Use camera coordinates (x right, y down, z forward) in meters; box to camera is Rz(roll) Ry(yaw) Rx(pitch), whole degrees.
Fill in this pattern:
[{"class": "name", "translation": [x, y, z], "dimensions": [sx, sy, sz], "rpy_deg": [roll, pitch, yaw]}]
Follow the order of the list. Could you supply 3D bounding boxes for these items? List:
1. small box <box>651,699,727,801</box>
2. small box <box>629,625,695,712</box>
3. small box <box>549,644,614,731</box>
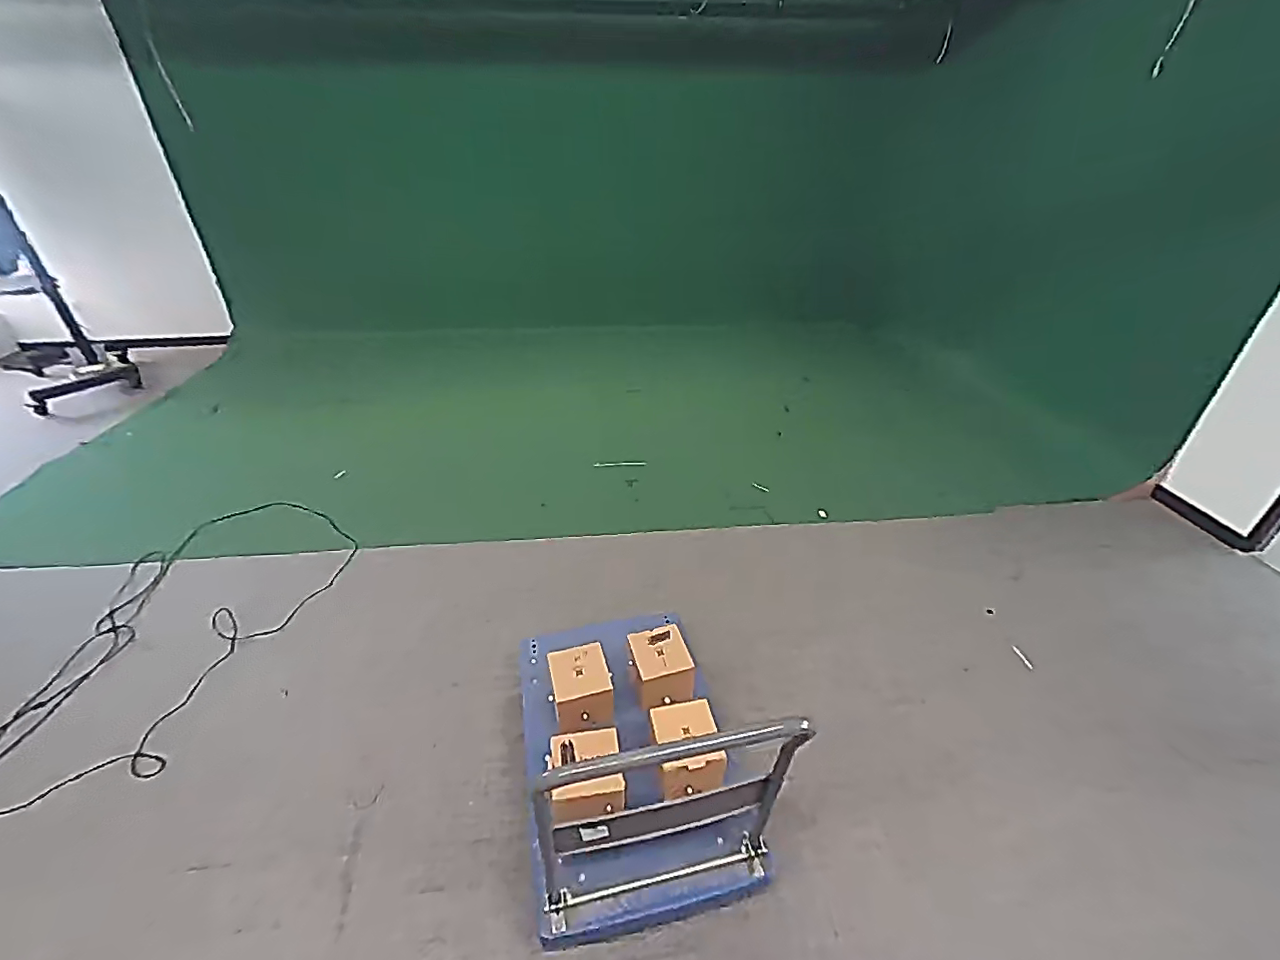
[{"class": "small box", "translation": [0.126, 0.741, 1.487], "dimensions": [0.168, 0.176, 0.179], "rpy_deg": [-7, 35, -10]}, {"class": "small box", "translation": [0.064, 0.594, 1.706], "dimensions": [0.168, 0.176, 0.179], "rpy_deg": [-10, 36, -13]}, {"class": "small box", "translation": [-0.176, 0.634, 1.644], "dimensions": [0.168, 0.176, 0.179], "rpy_deg": [-9, 35, -14]}]
